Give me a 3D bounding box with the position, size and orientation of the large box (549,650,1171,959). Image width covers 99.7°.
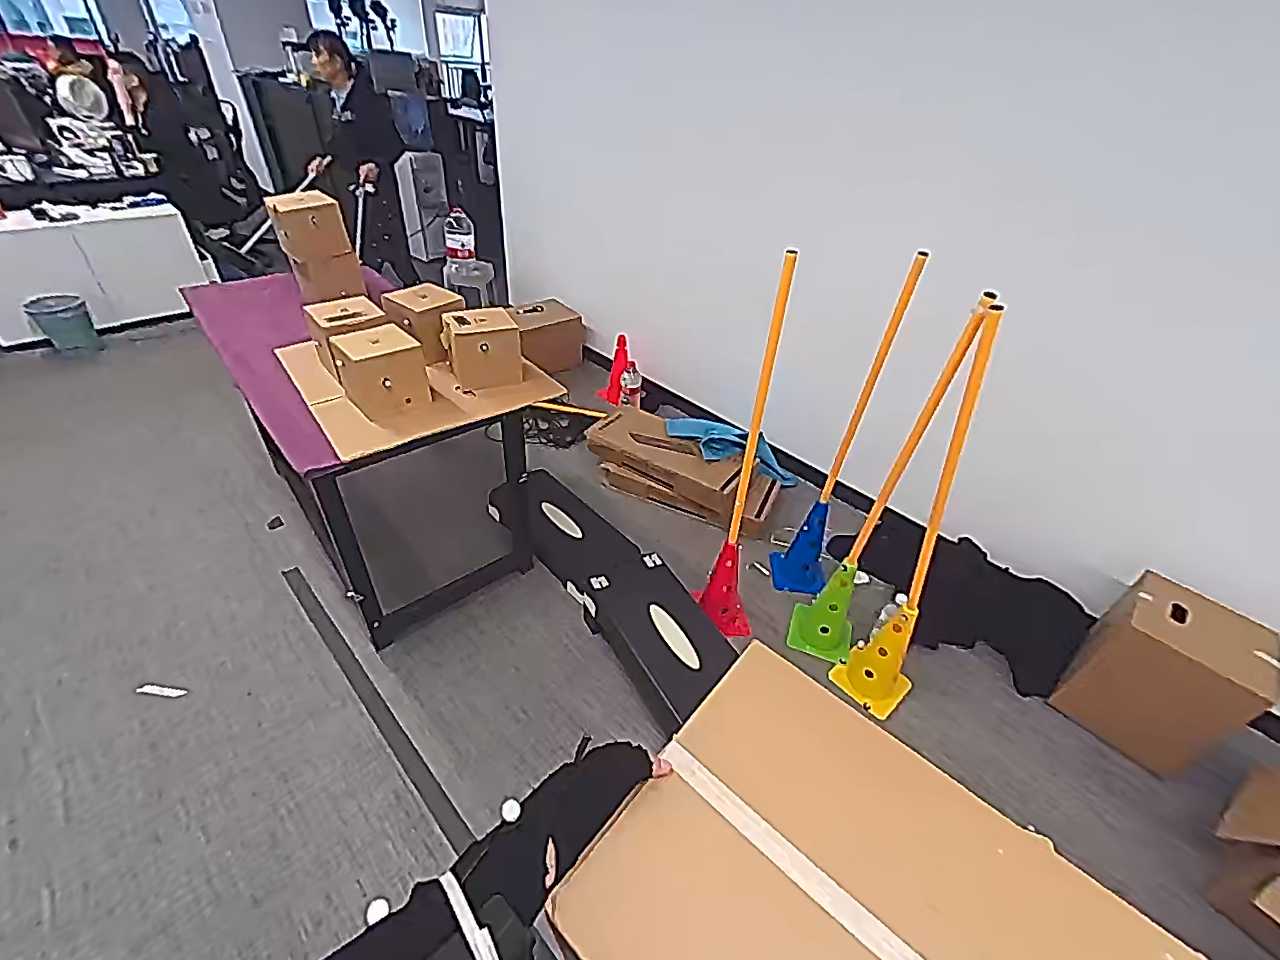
[{"bbox_3d":[0.163,0.461,0.529,0.408,0.320,0.320,33,51,27],"label":"large box"}]
